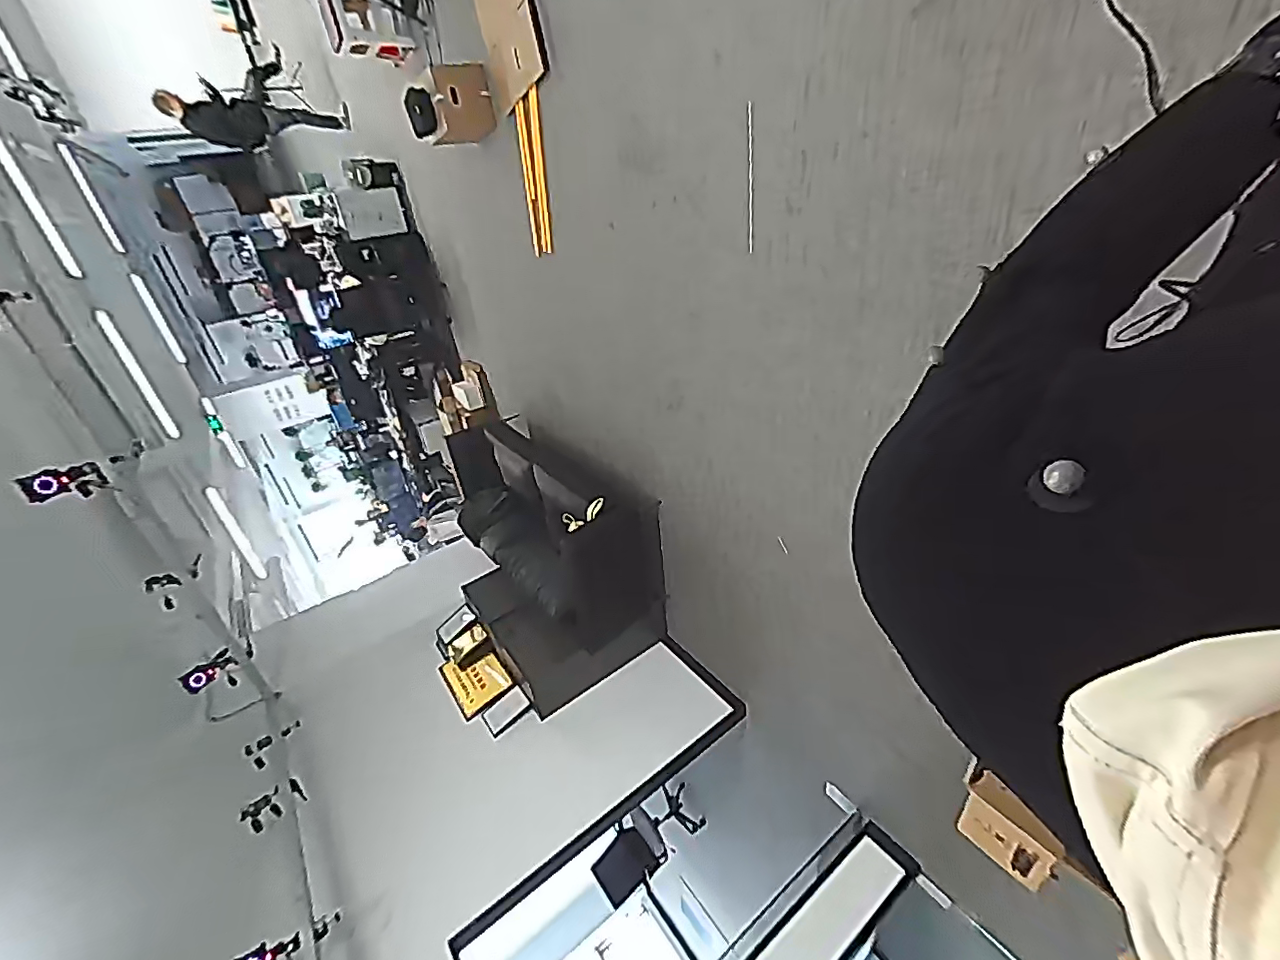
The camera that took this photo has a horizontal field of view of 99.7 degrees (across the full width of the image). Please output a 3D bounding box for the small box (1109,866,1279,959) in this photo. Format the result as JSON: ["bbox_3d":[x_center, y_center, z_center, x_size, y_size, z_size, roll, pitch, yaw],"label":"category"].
[{"bbox_3d":[1.038,0.879,1.008,0.168,0.176,0.179,34,140,42],"label":"small box"}]
